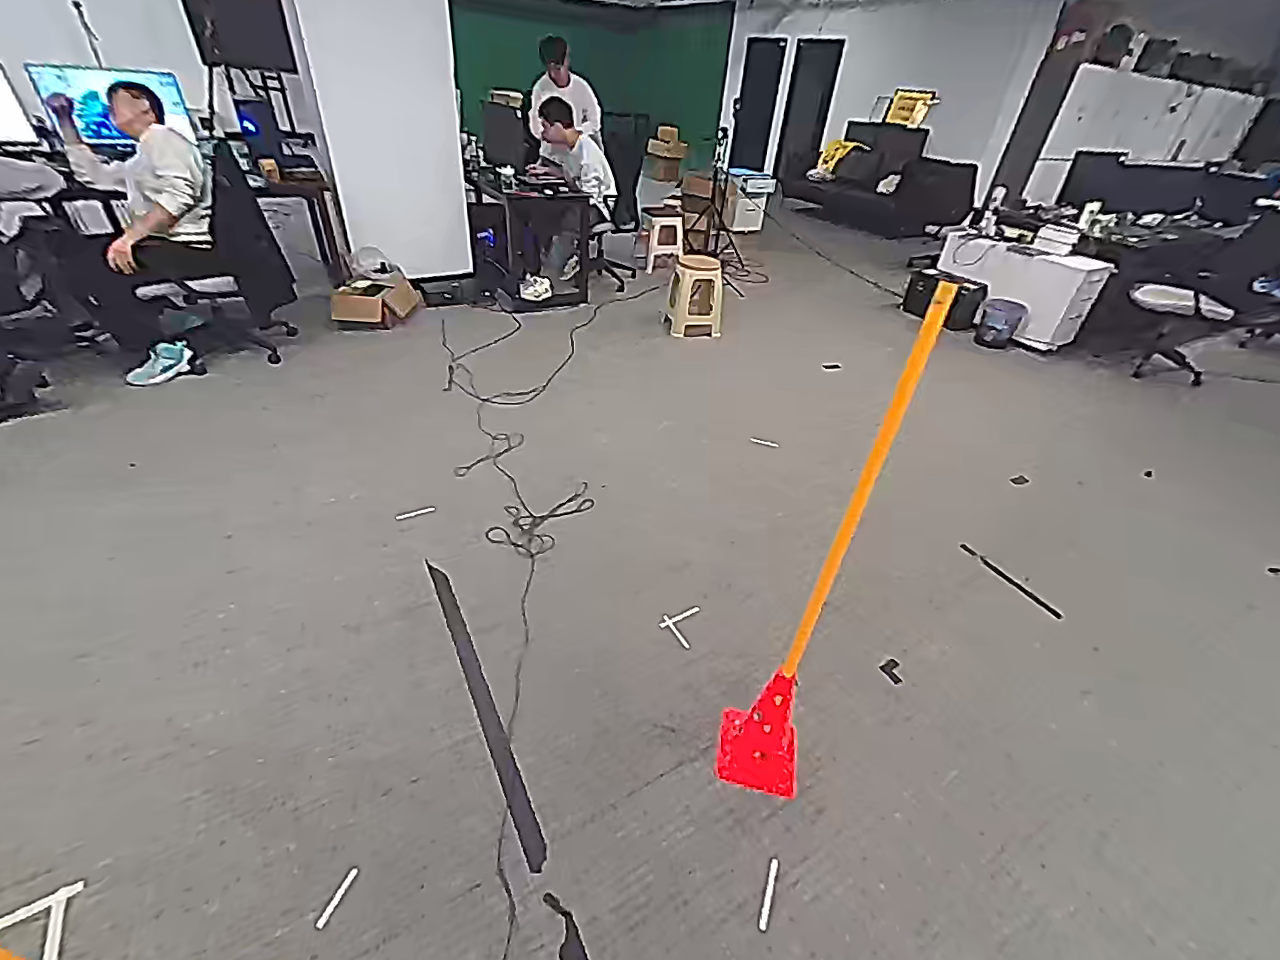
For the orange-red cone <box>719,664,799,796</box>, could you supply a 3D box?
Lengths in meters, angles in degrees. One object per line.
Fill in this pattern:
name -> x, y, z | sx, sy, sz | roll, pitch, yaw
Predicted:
orange-red cone -> 0.321, 0.566, 1.305 | 0.198, 0.360, 0.199 | 12, 38, 10
